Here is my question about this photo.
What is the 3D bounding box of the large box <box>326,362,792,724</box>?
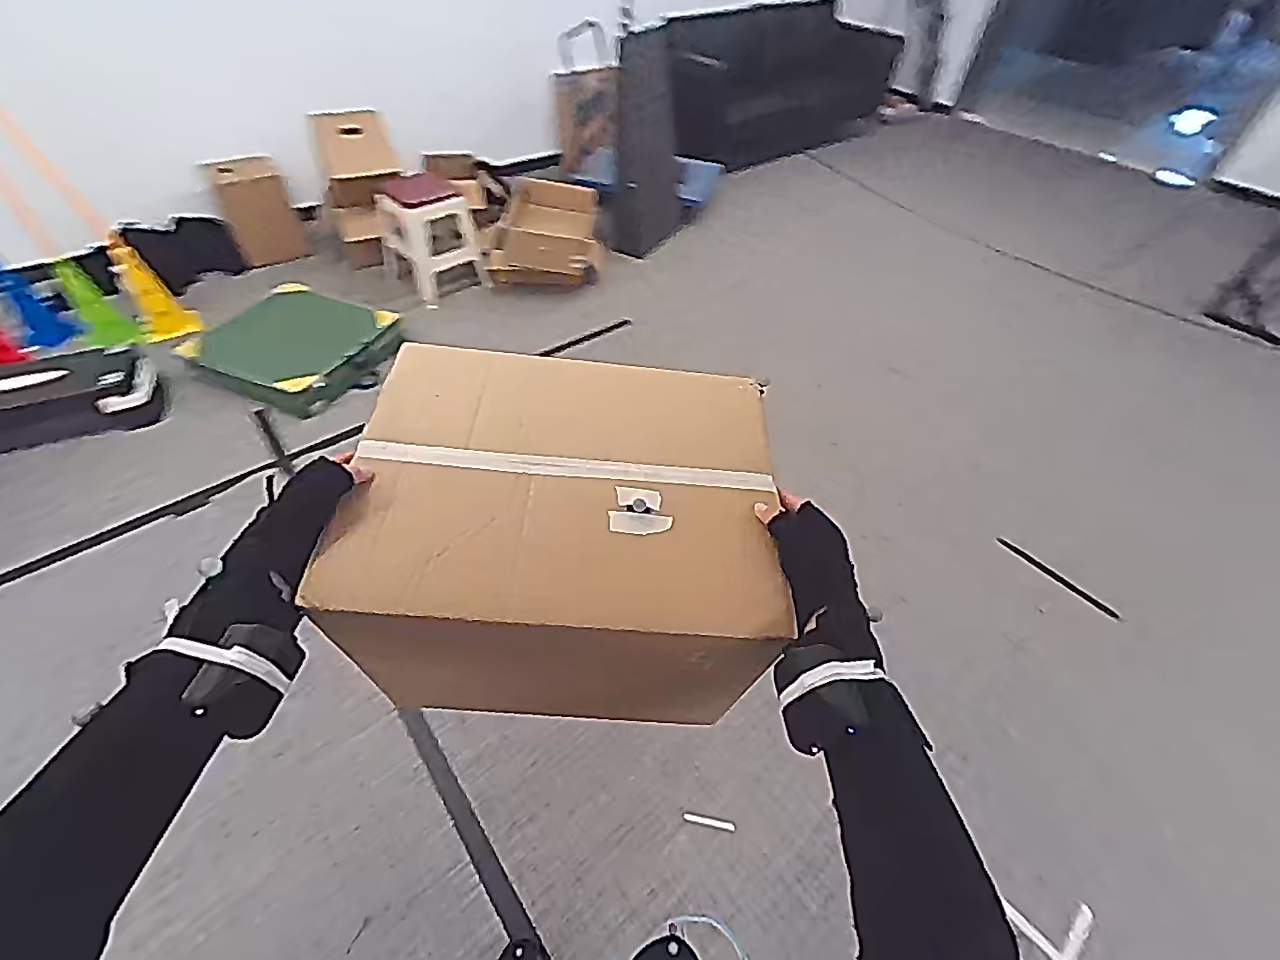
[{"bbox_3d":[-0.077,0.092,0.662,0.408,0.320,0.320,6,54,-4],"label":"large box"}]
